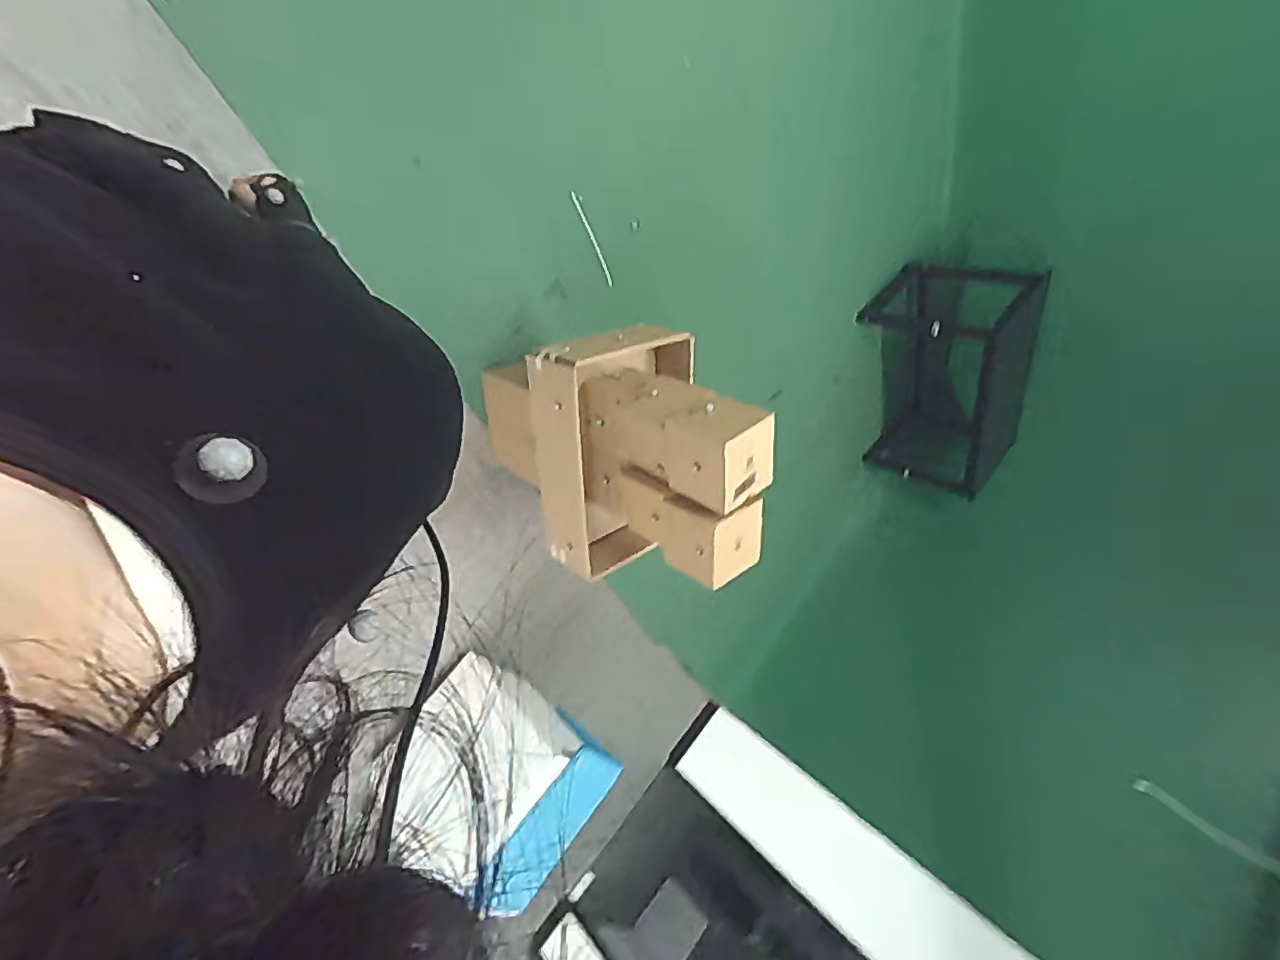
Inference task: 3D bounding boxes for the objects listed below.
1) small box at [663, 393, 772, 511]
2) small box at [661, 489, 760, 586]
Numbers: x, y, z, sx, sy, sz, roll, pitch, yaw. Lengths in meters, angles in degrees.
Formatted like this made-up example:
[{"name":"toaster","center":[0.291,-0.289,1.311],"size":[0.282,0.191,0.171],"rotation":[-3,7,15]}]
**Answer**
[{"name":"small box","center":[0.167,-0.068,1.178],"size":[0.168,0.176,0.179],"rotation":[-31,130,-32]},{"name":"small box","center":[0.162,0.114,1.278],"size":[0.168,0.176,0.179],"rotation":[-24,124,-35]}]
